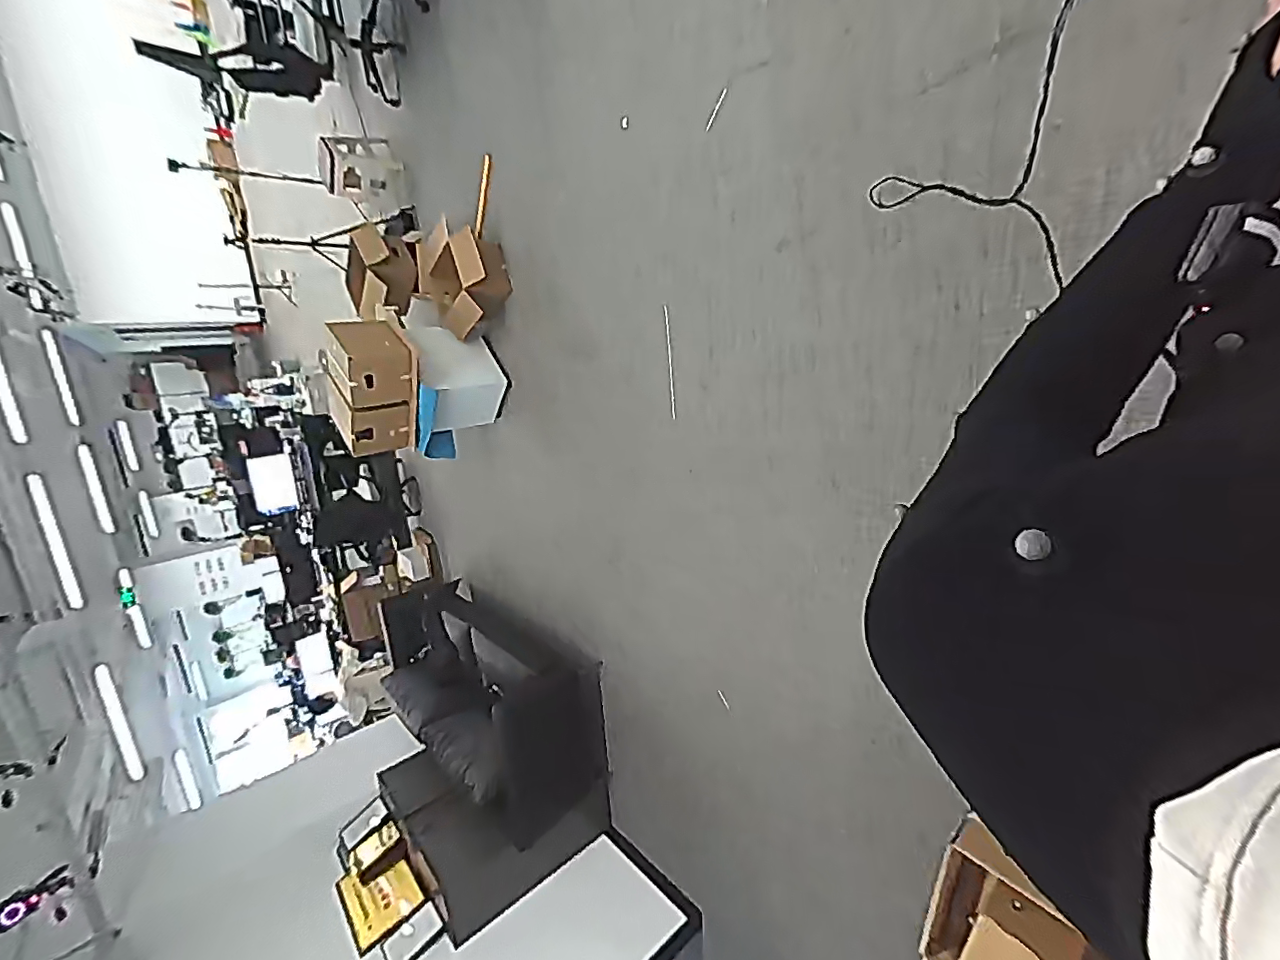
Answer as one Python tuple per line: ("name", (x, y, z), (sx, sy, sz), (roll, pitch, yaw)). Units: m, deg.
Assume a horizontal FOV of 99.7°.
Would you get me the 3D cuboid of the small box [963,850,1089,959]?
("small box", (0.859, 0.982, 1.201), (0.168, 0.176, 0.179), (28, 122, 44))
